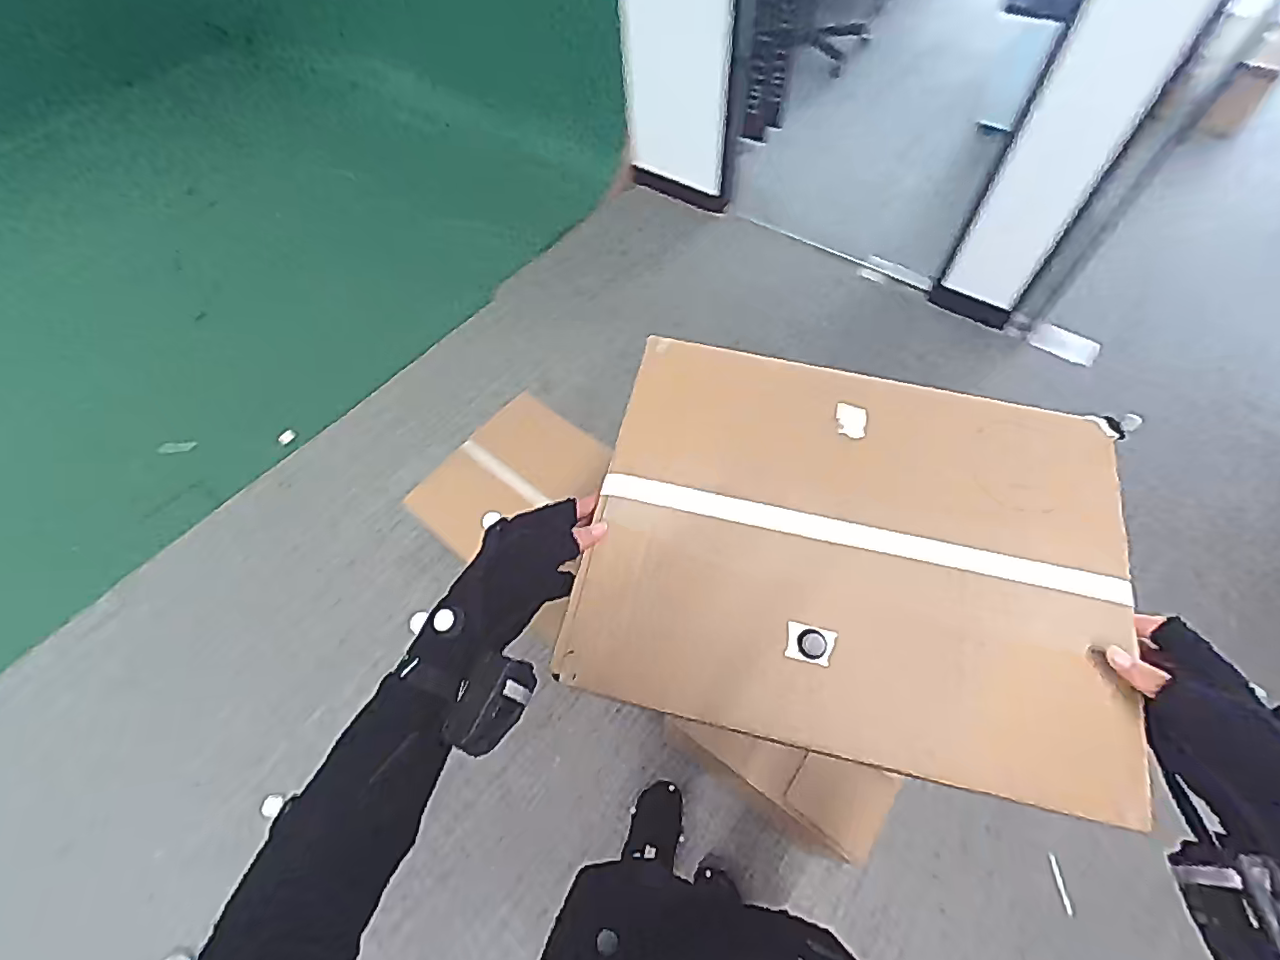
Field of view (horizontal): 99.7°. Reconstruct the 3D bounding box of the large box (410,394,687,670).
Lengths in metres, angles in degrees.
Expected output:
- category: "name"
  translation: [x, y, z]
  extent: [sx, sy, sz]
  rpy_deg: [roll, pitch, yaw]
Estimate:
- category: "large box"
  translation: [-0.162, 0.107, 1.083]
  extent: [0.408, 0.320, 0.320]
  rpy_deg: [35, 68, 20]
